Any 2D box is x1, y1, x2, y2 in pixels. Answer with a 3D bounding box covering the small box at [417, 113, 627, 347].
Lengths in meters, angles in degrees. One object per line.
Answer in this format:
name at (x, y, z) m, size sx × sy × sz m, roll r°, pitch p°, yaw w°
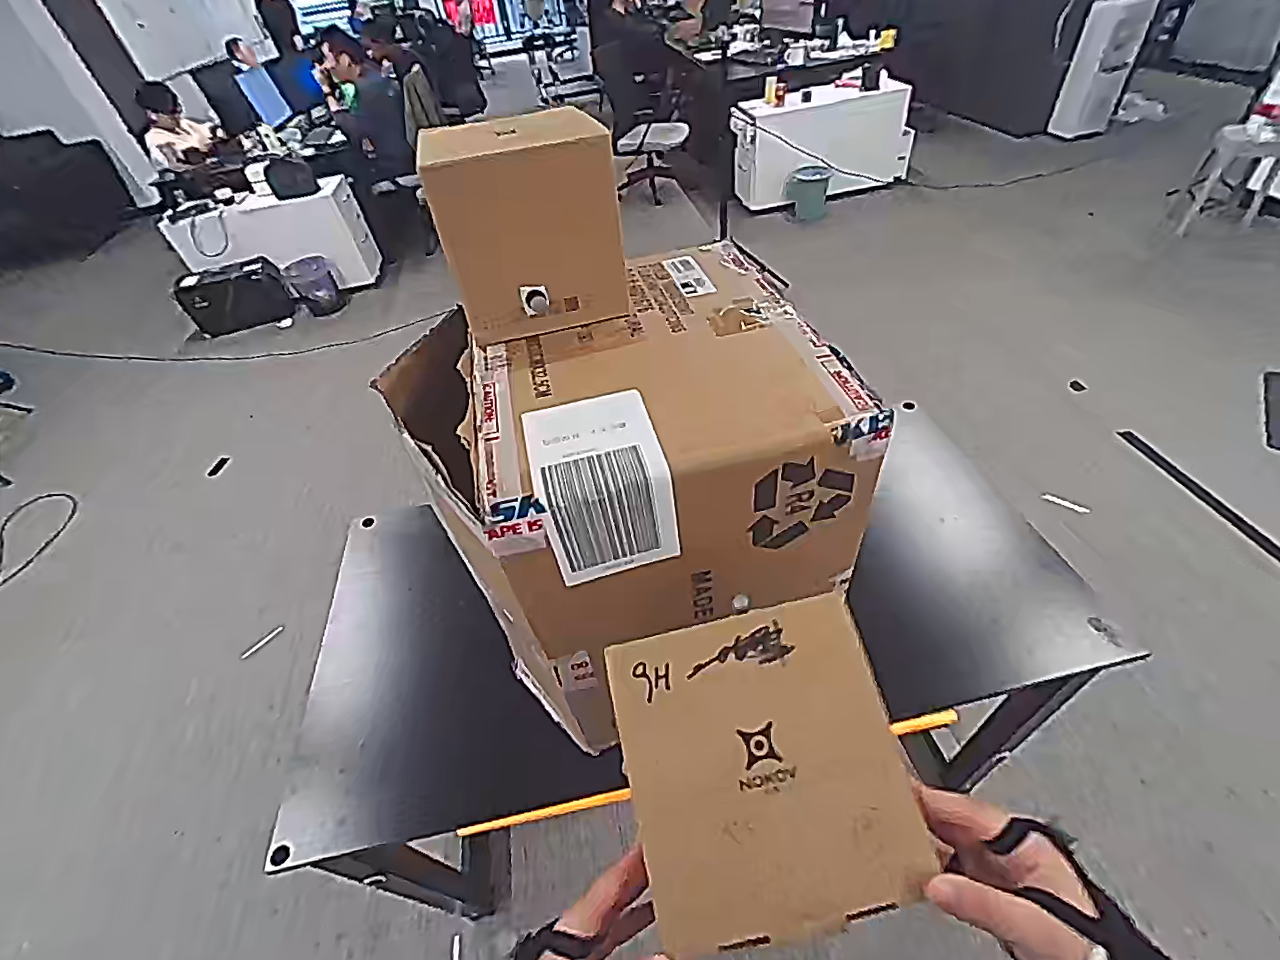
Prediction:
small box at (-0.120, -0.264, 0.568) m, size 0.168 × 0.176 × 0.179 m, roll -16°, pitch 44°, yaw -8°
